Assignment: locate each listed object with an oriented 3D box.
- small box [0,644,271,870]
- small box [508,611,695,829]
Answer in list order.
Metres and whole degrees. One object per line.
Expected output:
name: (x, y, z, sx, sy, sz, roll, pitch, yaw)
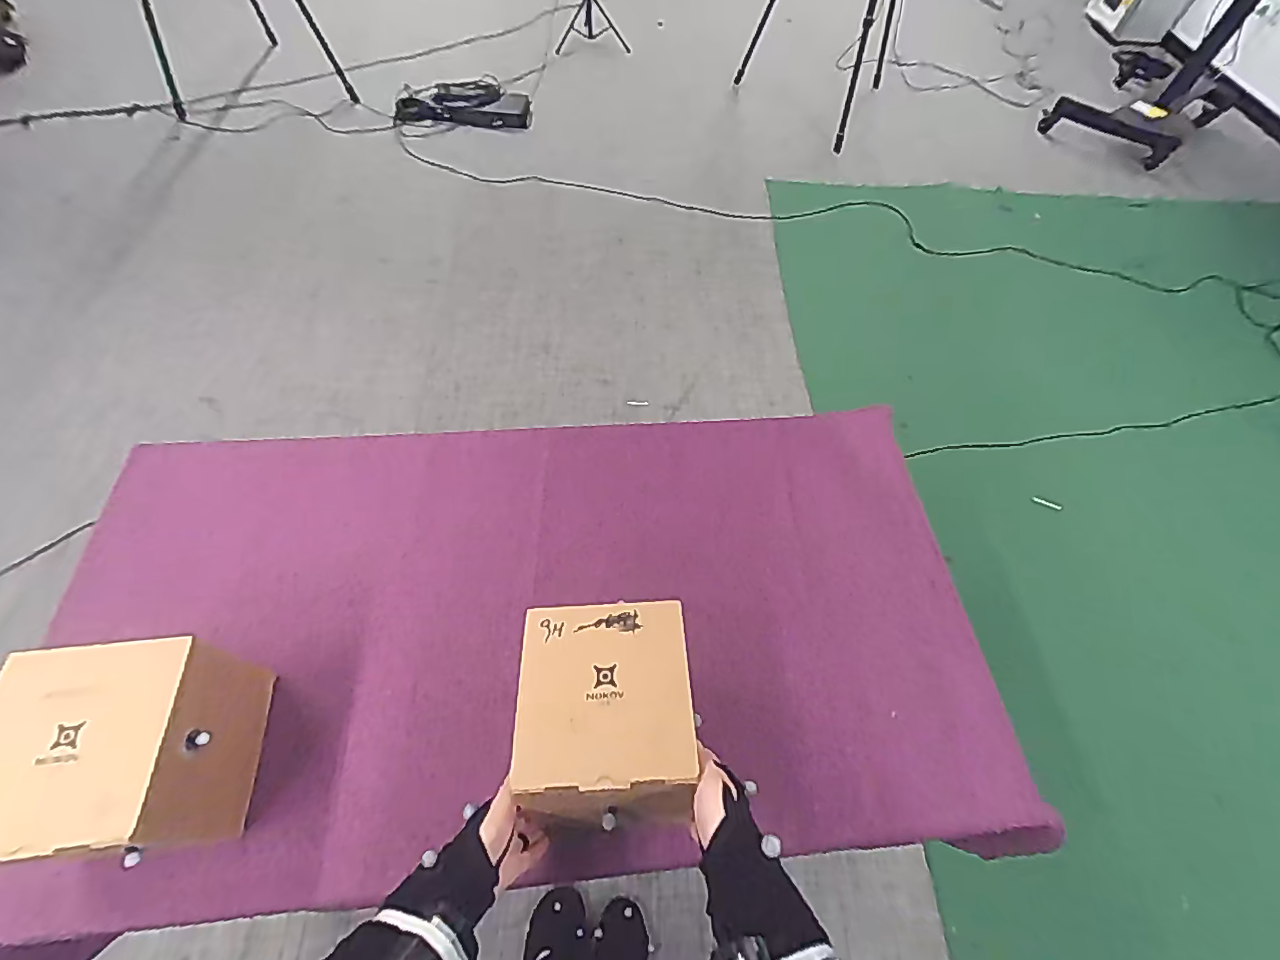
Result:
small box: (-0.516, 0.281, 0.551, 0.168, 0.176, 0.179, -3, 58, -7)
small box: (-0.033, 0.259, 0.576, 0.168, 0.176, 0.179, -2, 49, -1)
